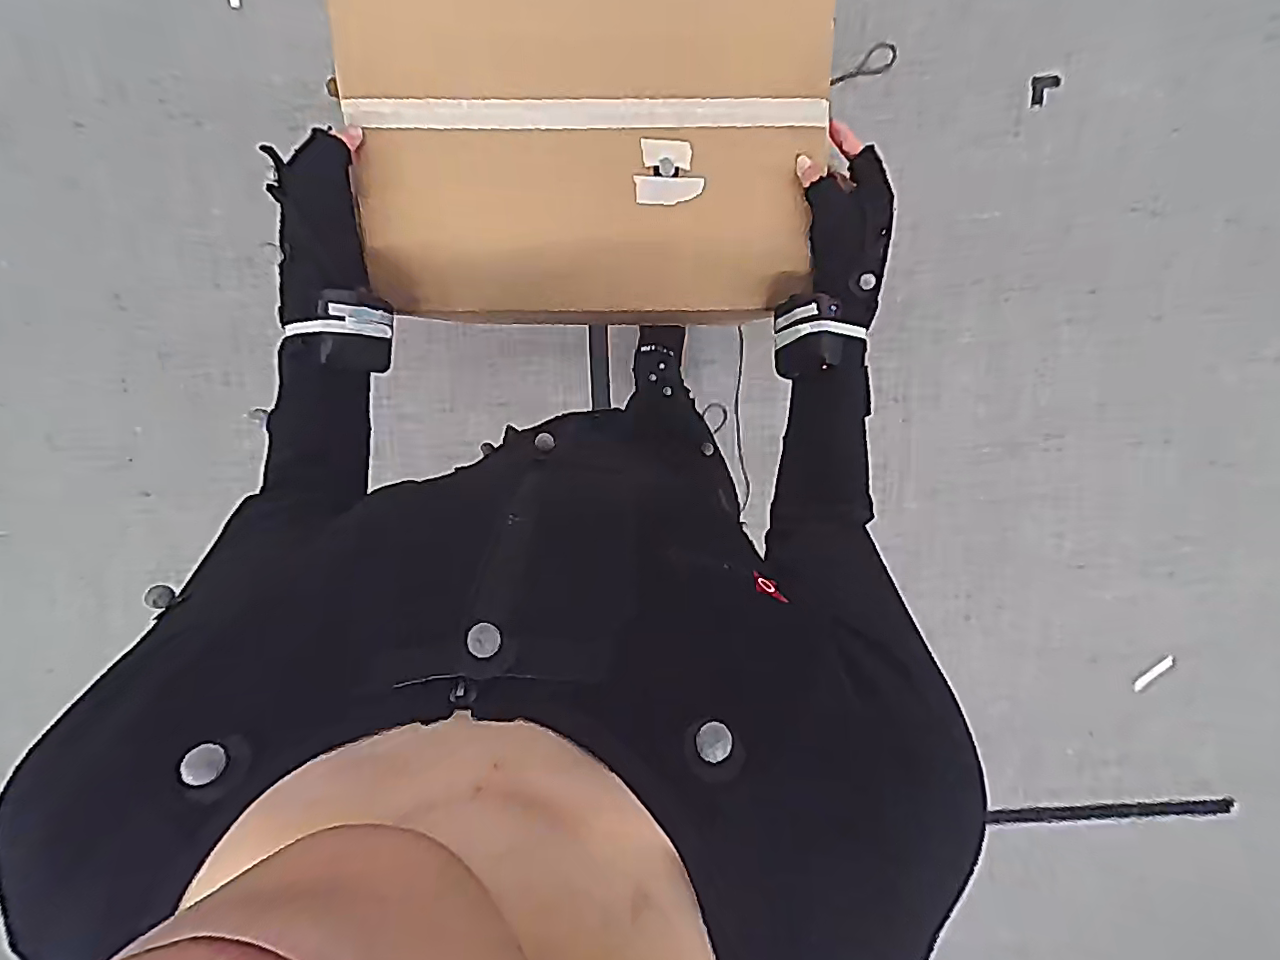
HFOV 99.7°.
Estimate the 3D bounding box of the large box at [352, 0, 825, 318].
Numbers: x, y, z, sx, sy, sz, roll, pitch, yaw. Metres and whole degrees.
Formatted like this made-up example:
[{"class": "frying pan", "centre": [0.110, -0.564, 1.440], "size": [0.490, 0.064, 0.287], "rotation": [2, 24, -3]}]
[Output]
[{"class": "large box", "centre": [-0.045, -0.359, 0.617], "size": [0.408, 0.320, 0.320], "rotation": [-1, 105, -2]}]
